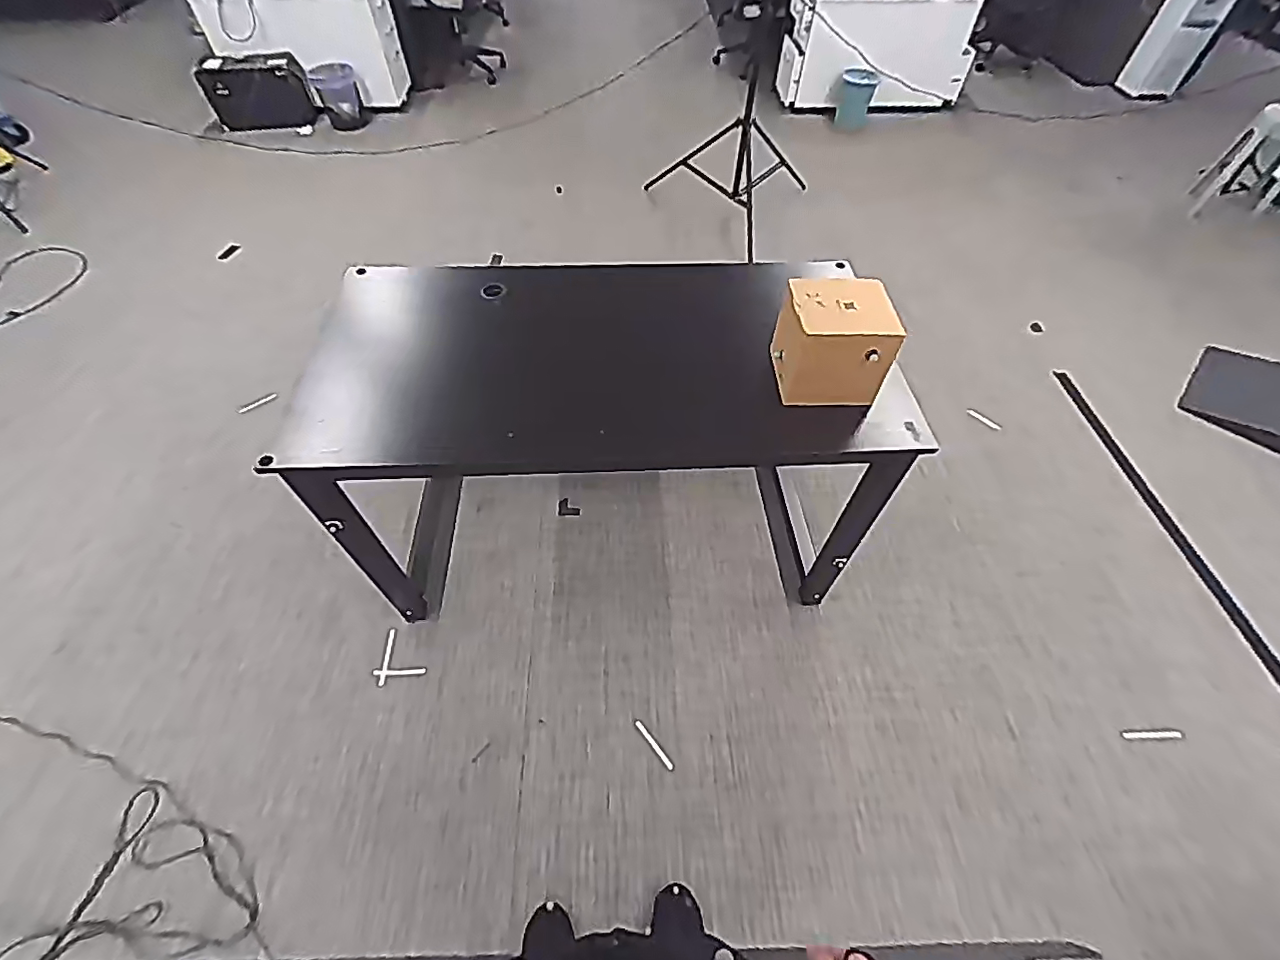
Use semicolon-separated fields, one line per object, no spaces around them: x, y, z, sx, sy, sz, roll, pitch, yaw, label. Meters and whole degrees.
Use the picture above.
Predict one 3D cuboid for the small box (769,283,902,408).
0.355;-0.249;1.021;0.179;0.176;0.168;-1;52;0;small box
